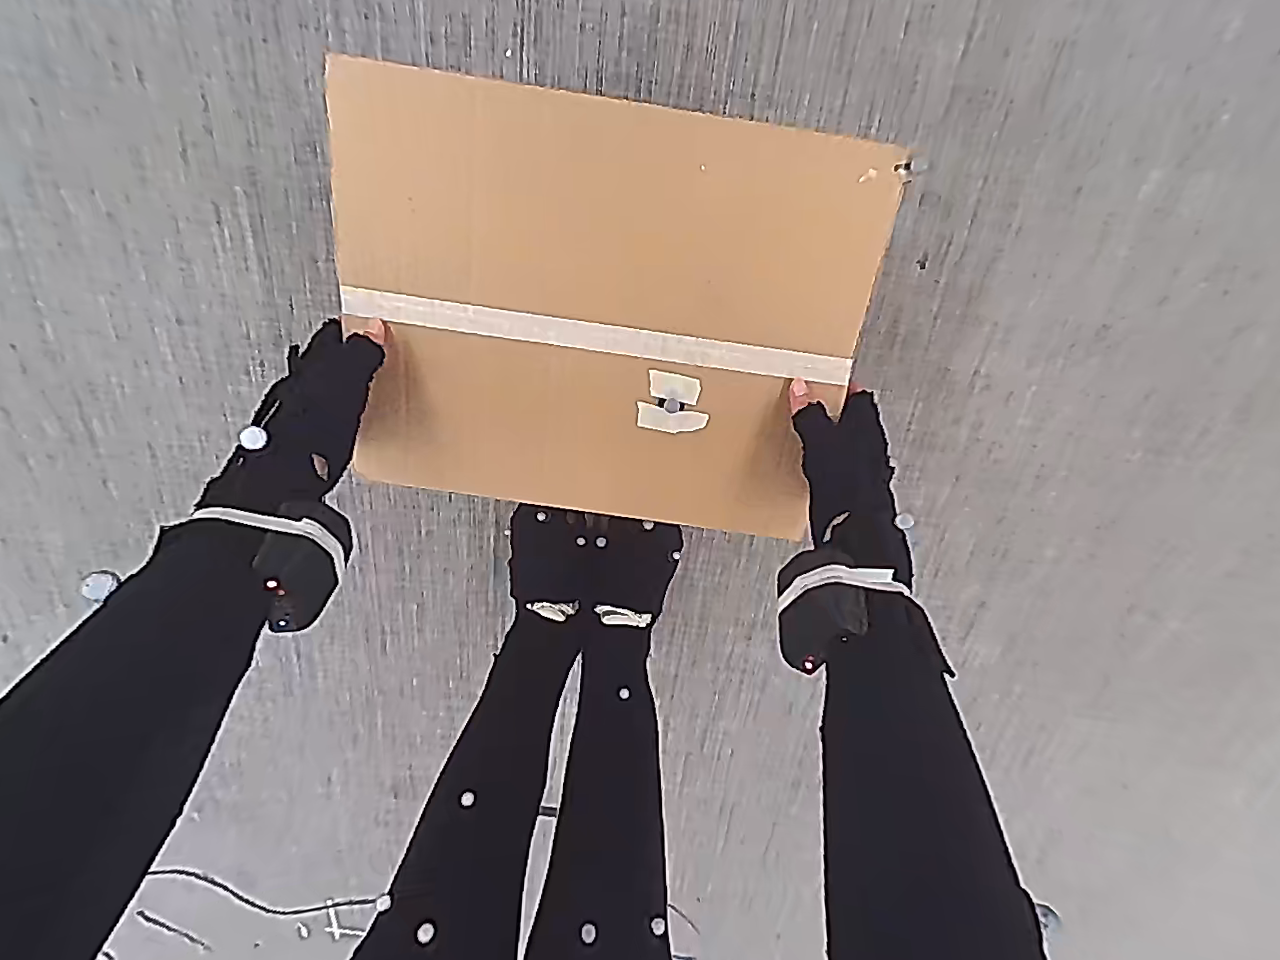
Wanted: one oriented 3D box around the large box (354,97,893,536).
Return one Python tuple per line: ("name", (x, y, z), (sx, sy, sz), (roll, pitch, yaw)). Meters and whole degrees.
("large box", (-0.026, -0.164, 0.584), (0.408, 0.320, 0.320), (8, 112, -1))
